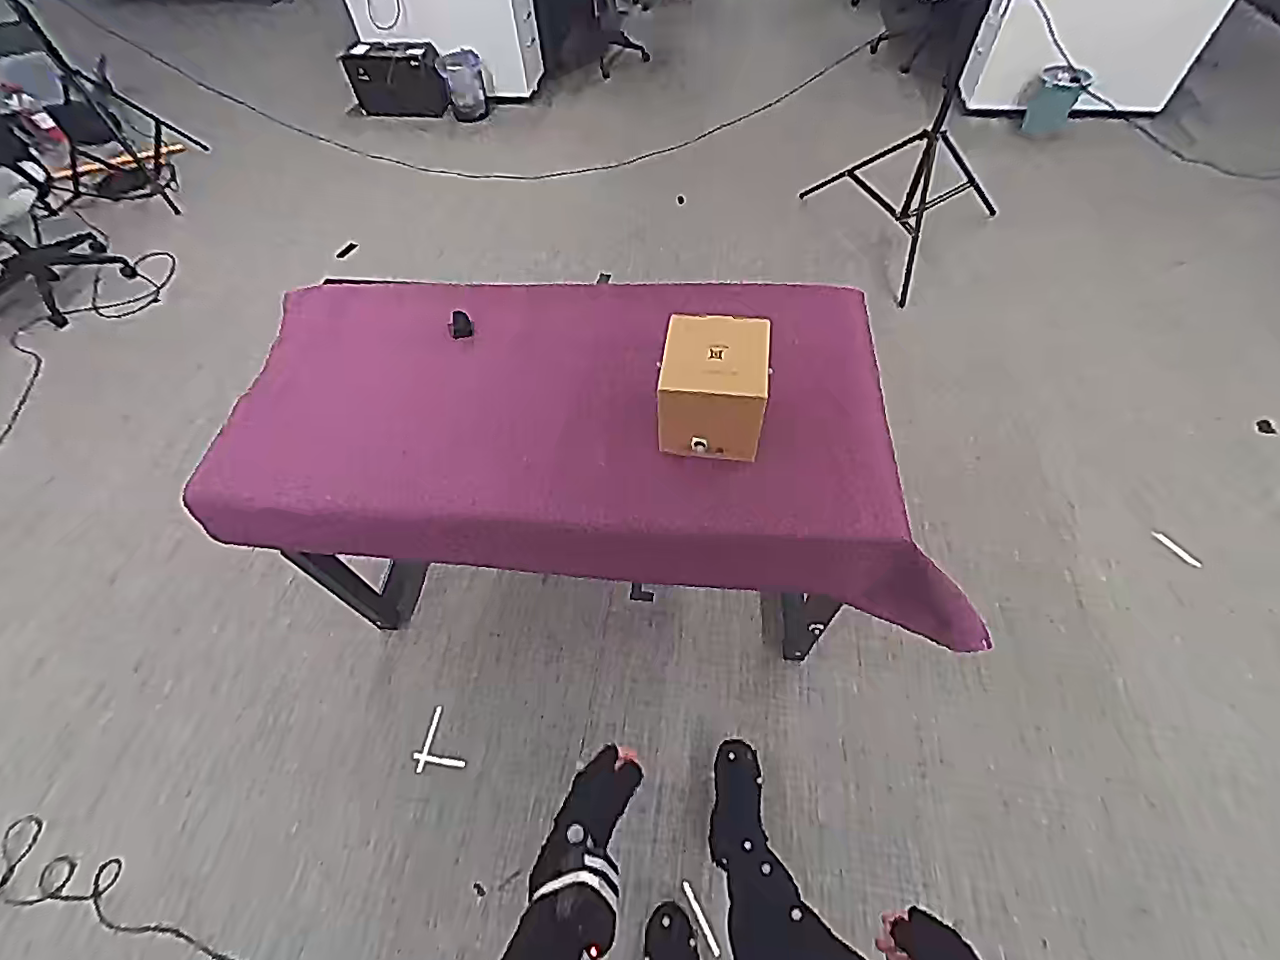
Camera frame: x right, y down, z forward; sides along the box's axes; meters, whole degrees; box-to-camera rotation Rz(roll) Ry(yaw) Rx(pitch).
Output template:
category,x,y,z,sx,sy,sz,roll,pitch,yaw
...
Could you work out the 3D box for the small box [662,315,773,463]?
category,x,y,z,sx,sy,sz,roll,pitch,yaw
small box,0.129,-0.153,0.917,0.168,0.176,0.179,5,57,8
